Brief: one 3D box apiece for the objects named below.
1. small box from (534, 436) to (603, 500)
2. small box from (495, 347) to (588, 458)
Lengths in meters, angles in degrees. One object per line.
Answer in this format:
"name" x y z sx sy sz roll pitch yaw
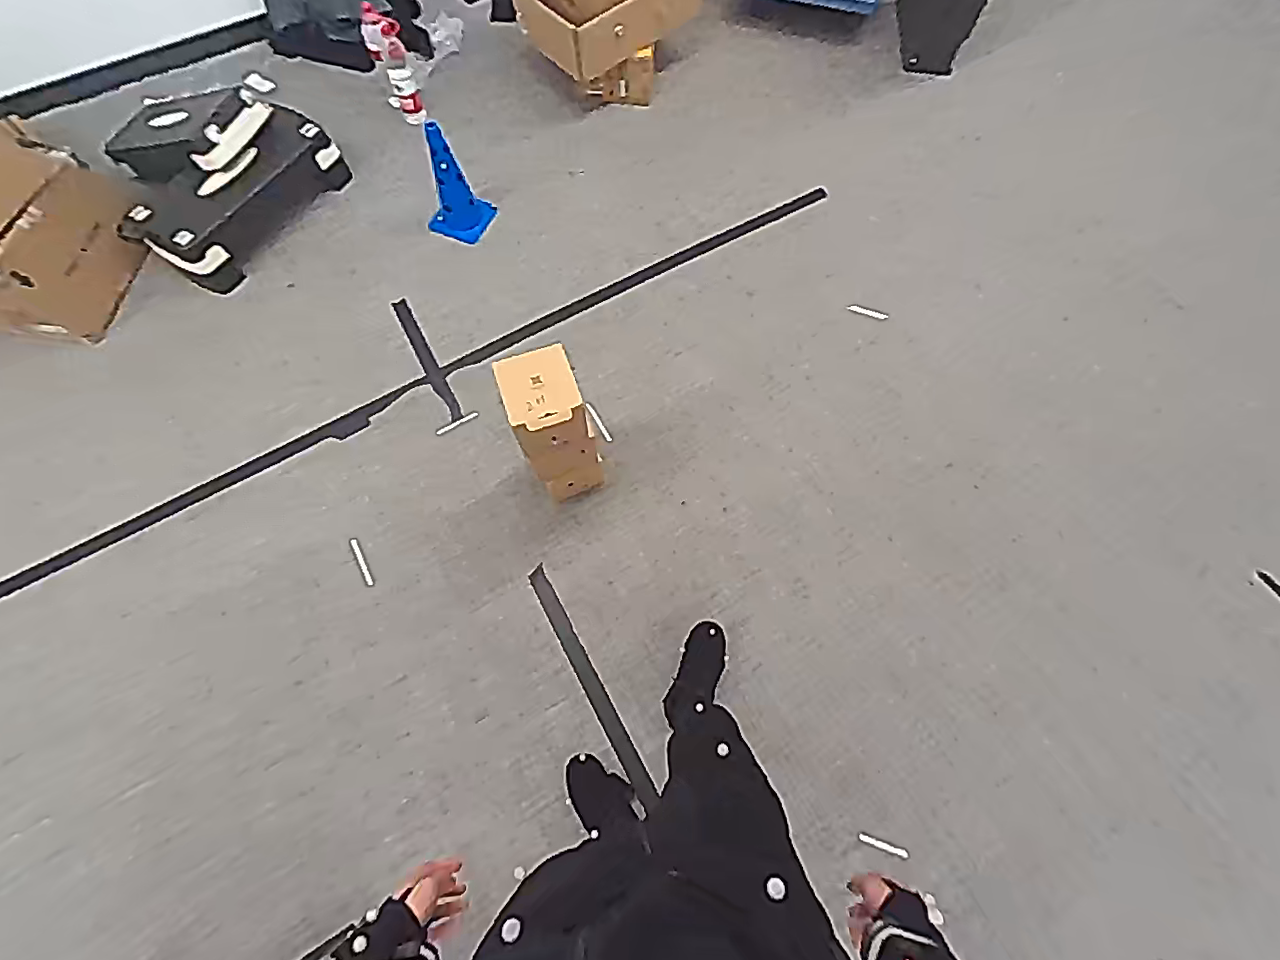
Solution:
"small box" -0.214 -0.056 1.579 0.168 0.176 0.179 -24 71 -10
"small box" -0.226 -0.178 1.272 0.168 0.176 0.179 -18 71 -8
